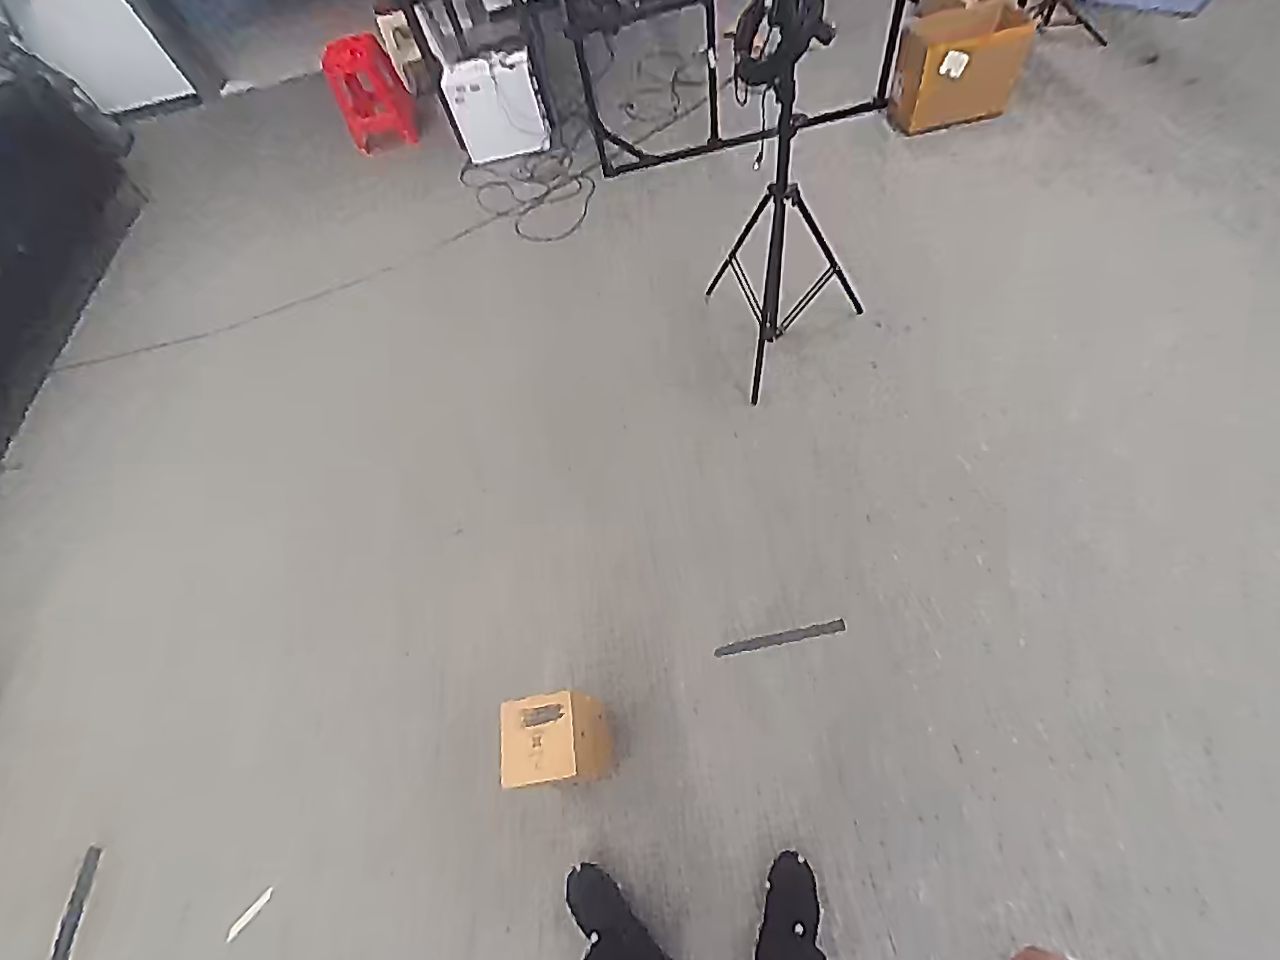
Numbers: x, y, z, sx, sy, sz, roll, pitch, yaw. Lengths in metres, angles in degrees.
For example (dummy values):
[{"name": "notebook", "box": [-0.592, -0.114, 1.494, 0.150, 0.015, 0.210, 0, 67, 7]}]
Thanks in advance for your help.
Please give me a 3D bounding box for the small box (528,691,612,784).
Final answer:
[{"name": "small box", "box": [-0.177, 0.662, 1.383, 0.168, 0.176, 0.179, -14, 58, 3]}]
